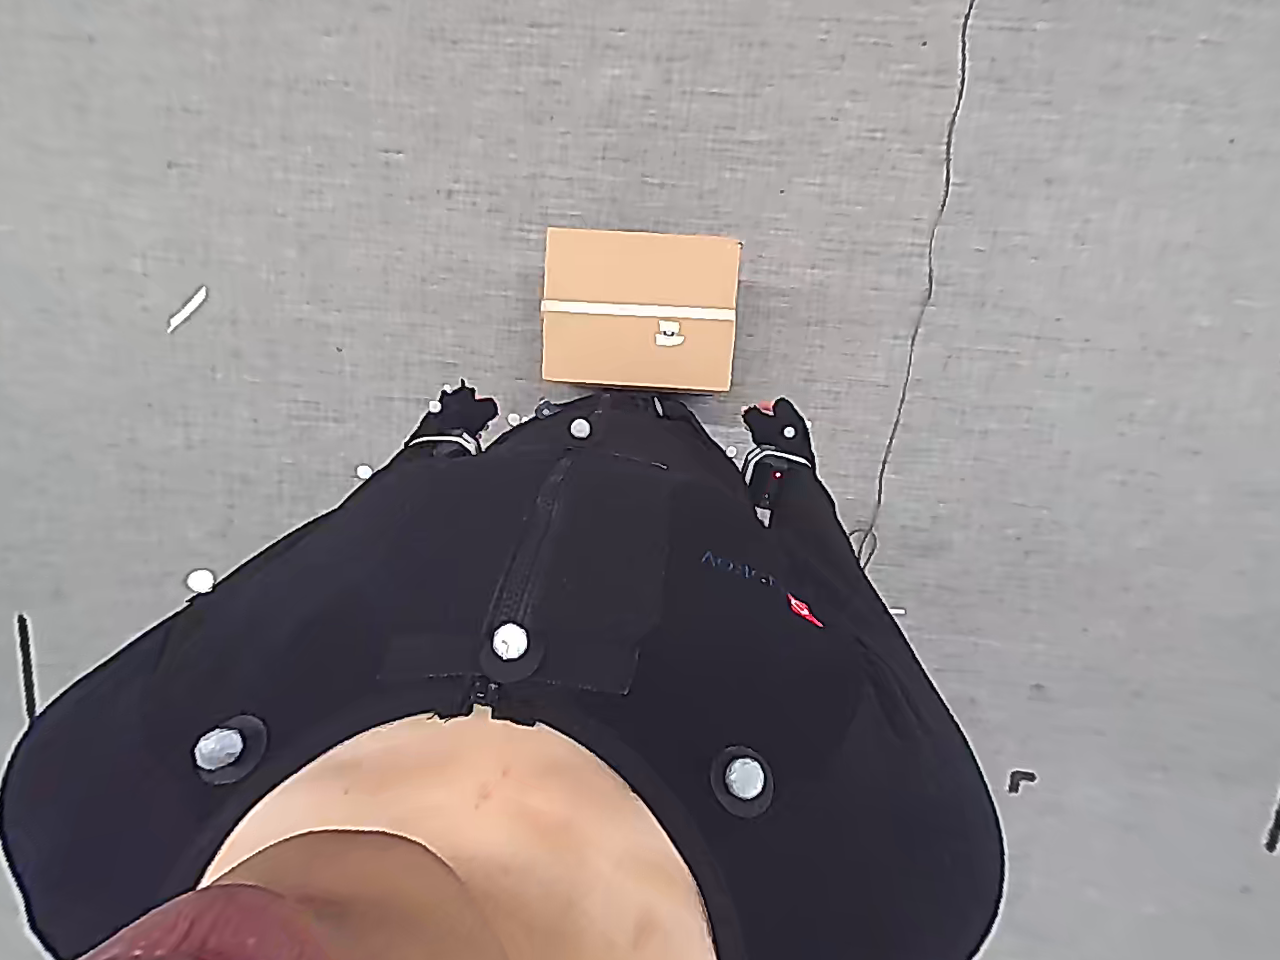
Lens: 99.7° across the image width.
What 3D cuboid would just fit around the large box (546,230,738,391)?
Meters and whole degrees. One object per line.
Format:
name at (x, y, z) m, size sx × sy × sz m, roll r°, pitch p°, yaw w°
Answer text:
large box at (0.001, -0.380, 1.291) m, size 0.408 × 0.320 × 0.320 m, roll 3°, pitch 98°, yaw 1°
